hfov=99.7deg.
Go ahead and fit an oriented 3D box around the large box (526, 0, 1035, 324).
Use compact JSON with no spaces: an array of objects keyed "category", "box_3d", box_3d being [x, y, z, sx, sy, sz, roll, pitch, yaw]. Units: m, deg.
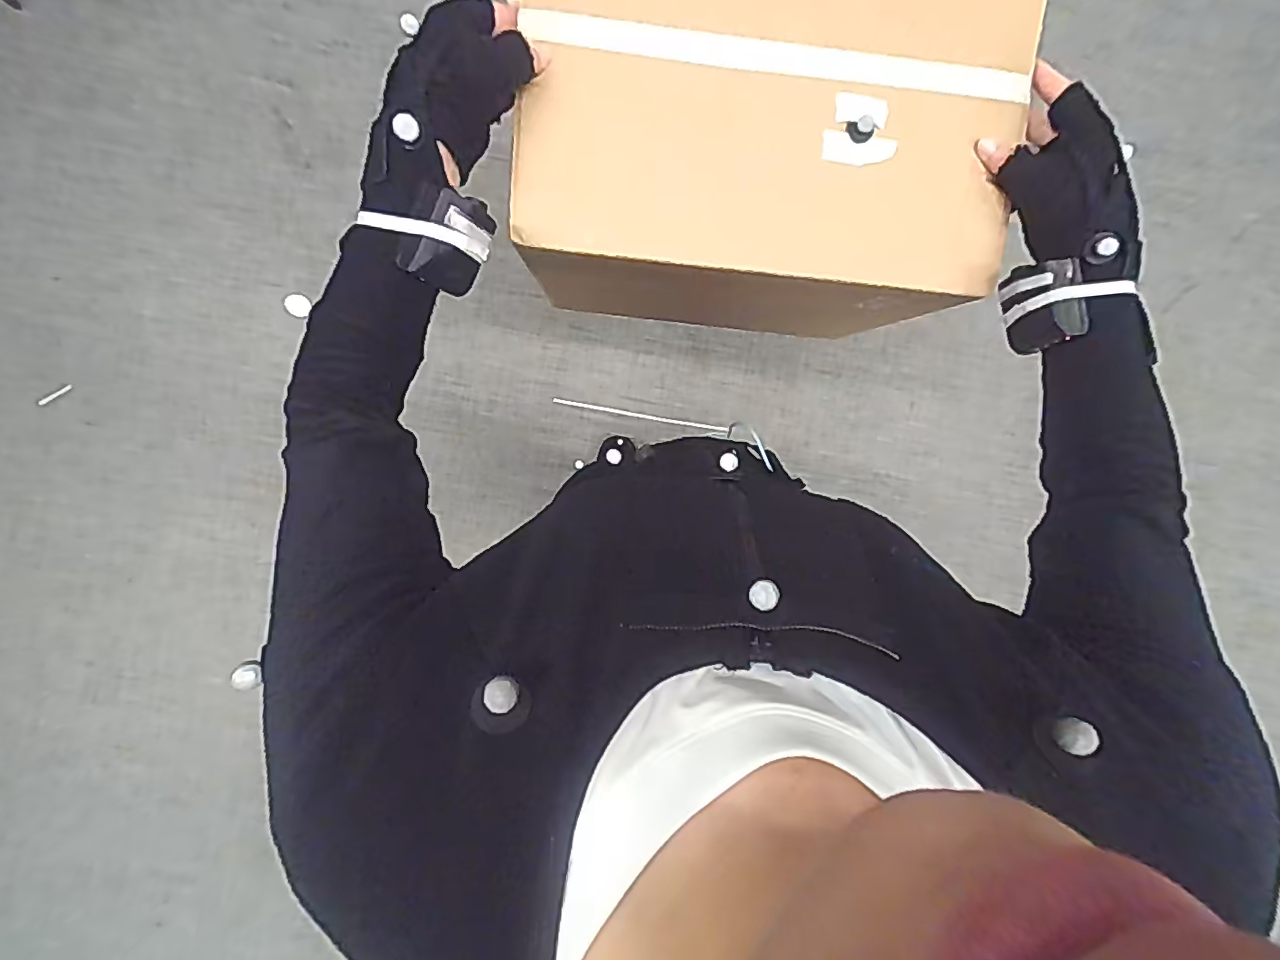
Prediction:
[{"category":"large box","box_3d":[0.102,-0.358,0.576,0.408,0.320,0.320,4,99,-5]}]
